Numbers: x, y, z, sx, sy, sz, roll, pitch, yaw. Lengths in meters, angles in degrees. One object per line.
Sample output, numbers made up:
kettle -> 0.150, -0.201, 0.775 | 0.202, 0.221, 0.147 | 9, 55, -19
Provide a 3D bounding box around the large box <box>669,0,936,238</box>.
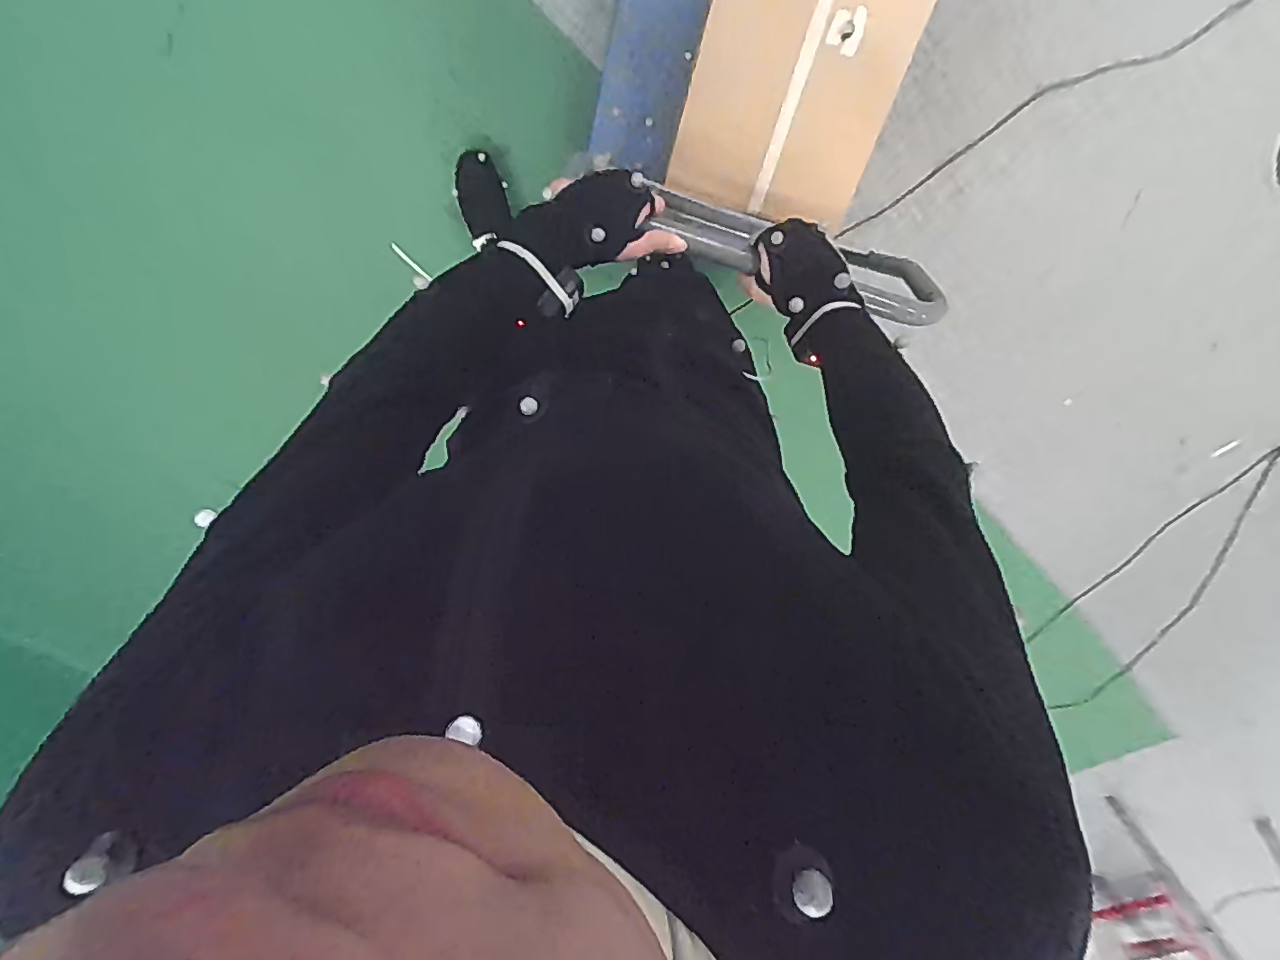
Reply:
large box -> 0.248, -0.688, 0.949 | 0.320, 0.320, 0.408 | 14, 119, -7
